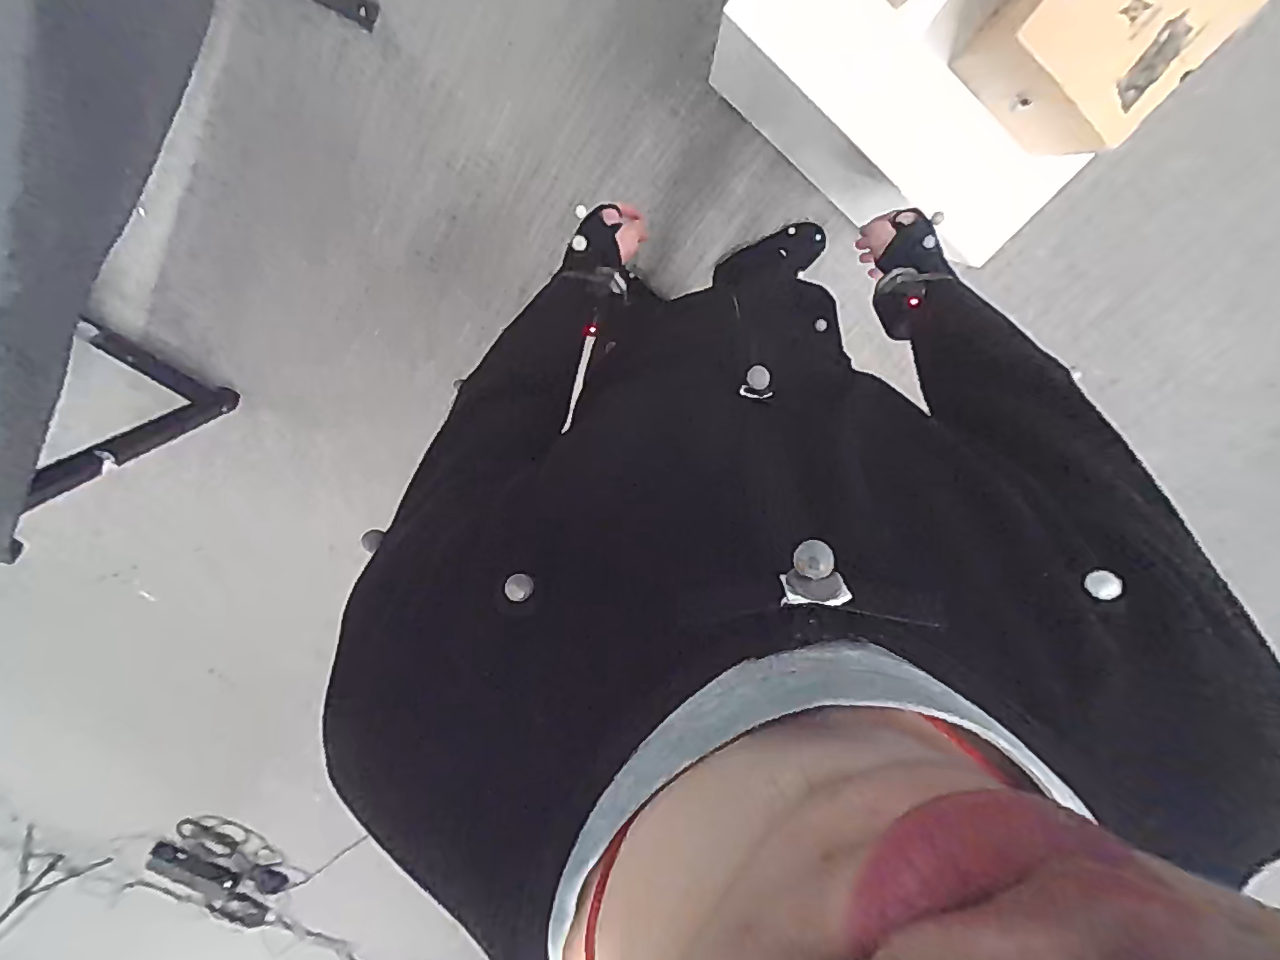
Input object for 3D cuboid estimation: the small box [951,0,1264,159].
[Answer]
[{"bbox_3d":[0.507,-0.498,0.616,0.179,0.176,0.168,36,114,-14],"label":"small box"}]
